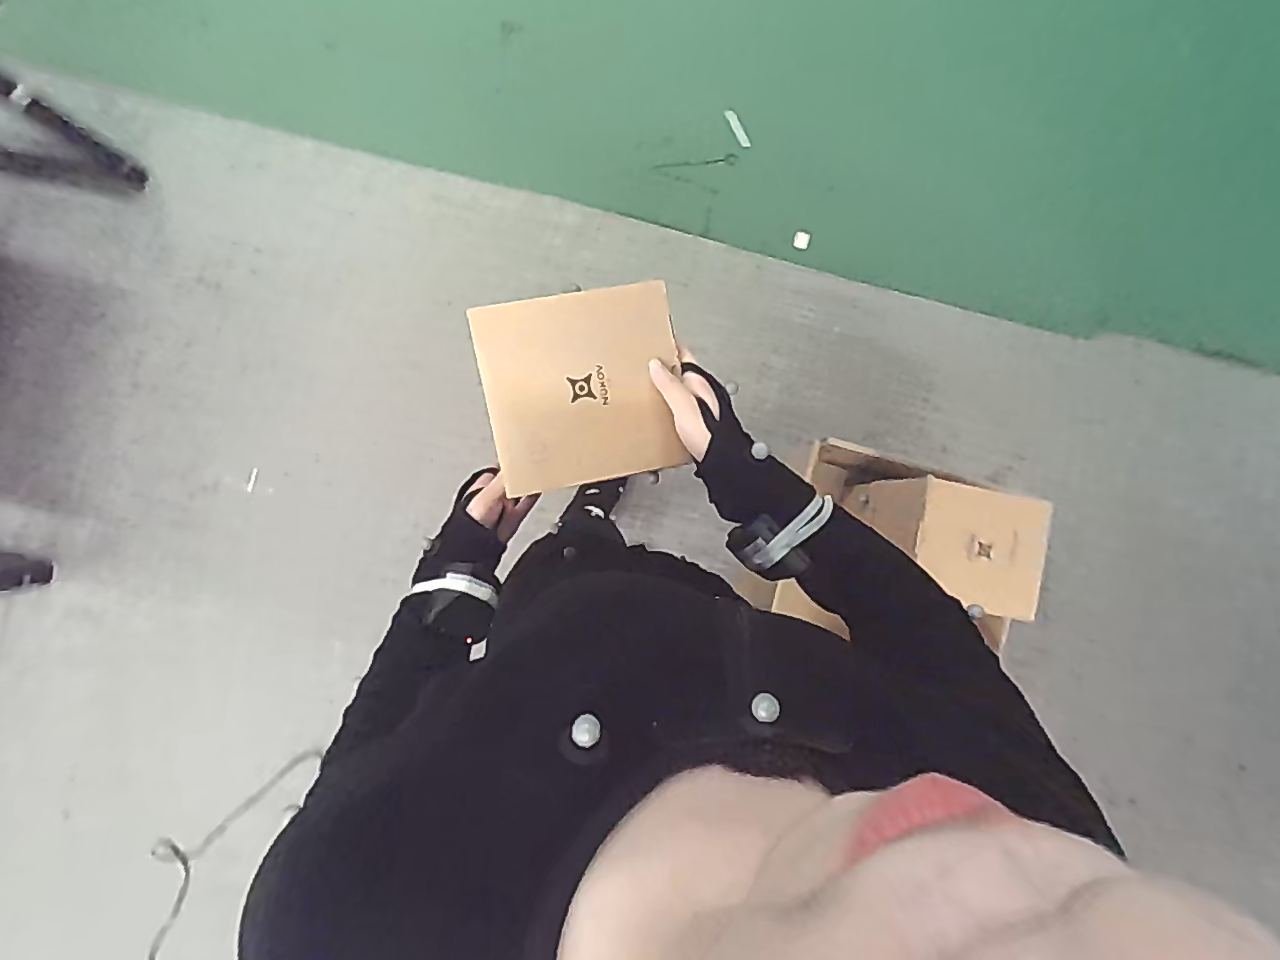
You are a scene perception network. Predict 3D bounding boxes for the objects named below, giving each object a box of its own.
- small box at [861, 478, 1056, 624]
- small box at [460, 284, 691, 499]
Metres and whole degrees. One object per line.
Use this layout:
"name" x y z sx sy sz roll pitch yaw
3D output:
"small box" 0.453 0.098 0.797 0.179 0.176 0.168 12 88 -1
"small box" -0.064 -0.080 0.548 0.179 0.176 0.168 -12 94 -9
